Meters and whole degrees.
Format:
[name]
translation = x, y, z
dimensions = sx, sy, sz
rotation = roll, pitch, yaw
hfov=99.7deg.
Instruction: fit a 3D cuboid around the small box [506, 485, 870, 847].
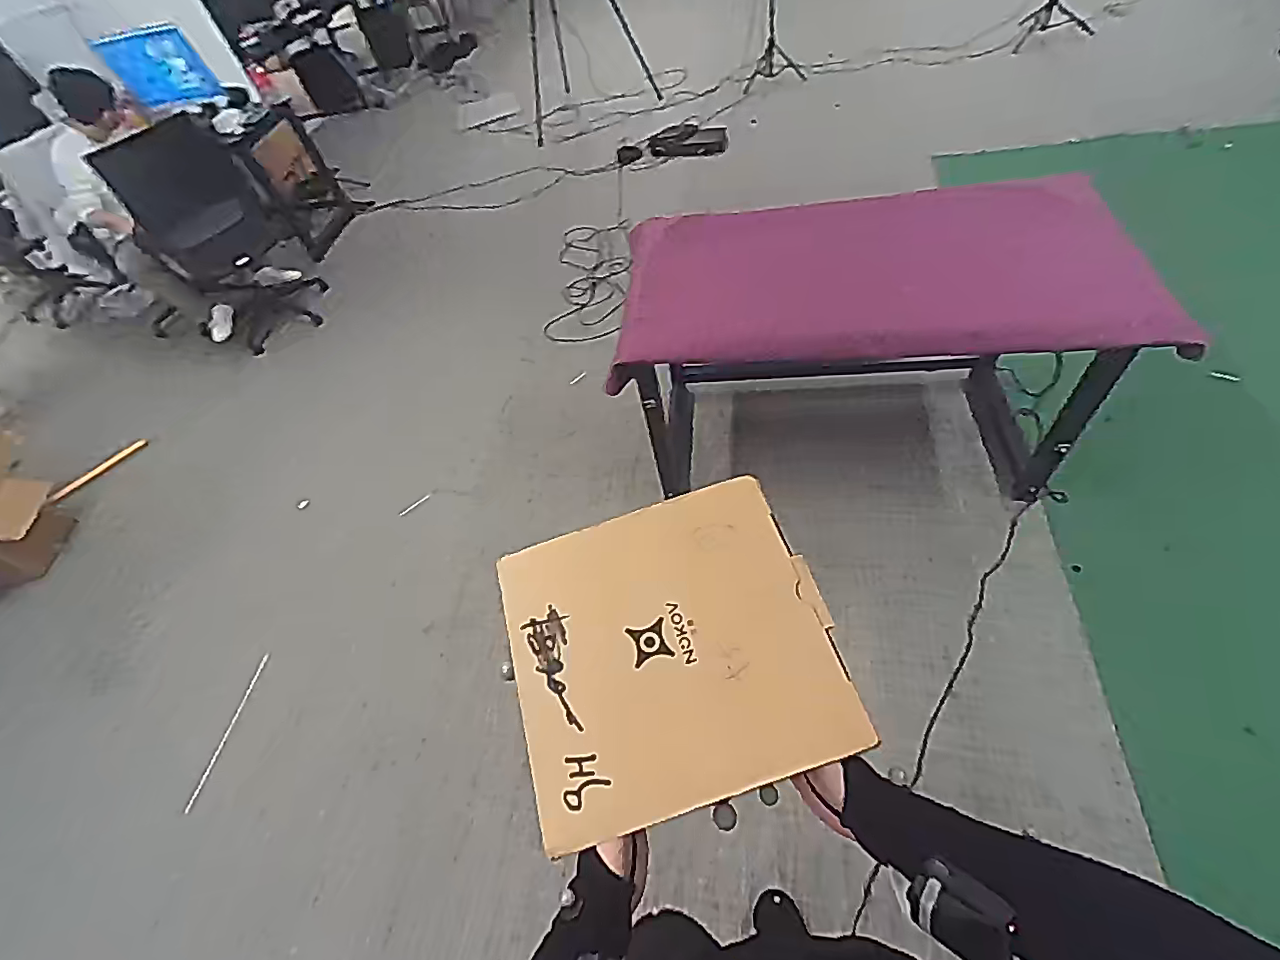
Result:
[small box]
translation = 0.025, 0.132, 0.380
dimensions = 0.179, 0.176, 0.168
rotation = -17, 58, -1
